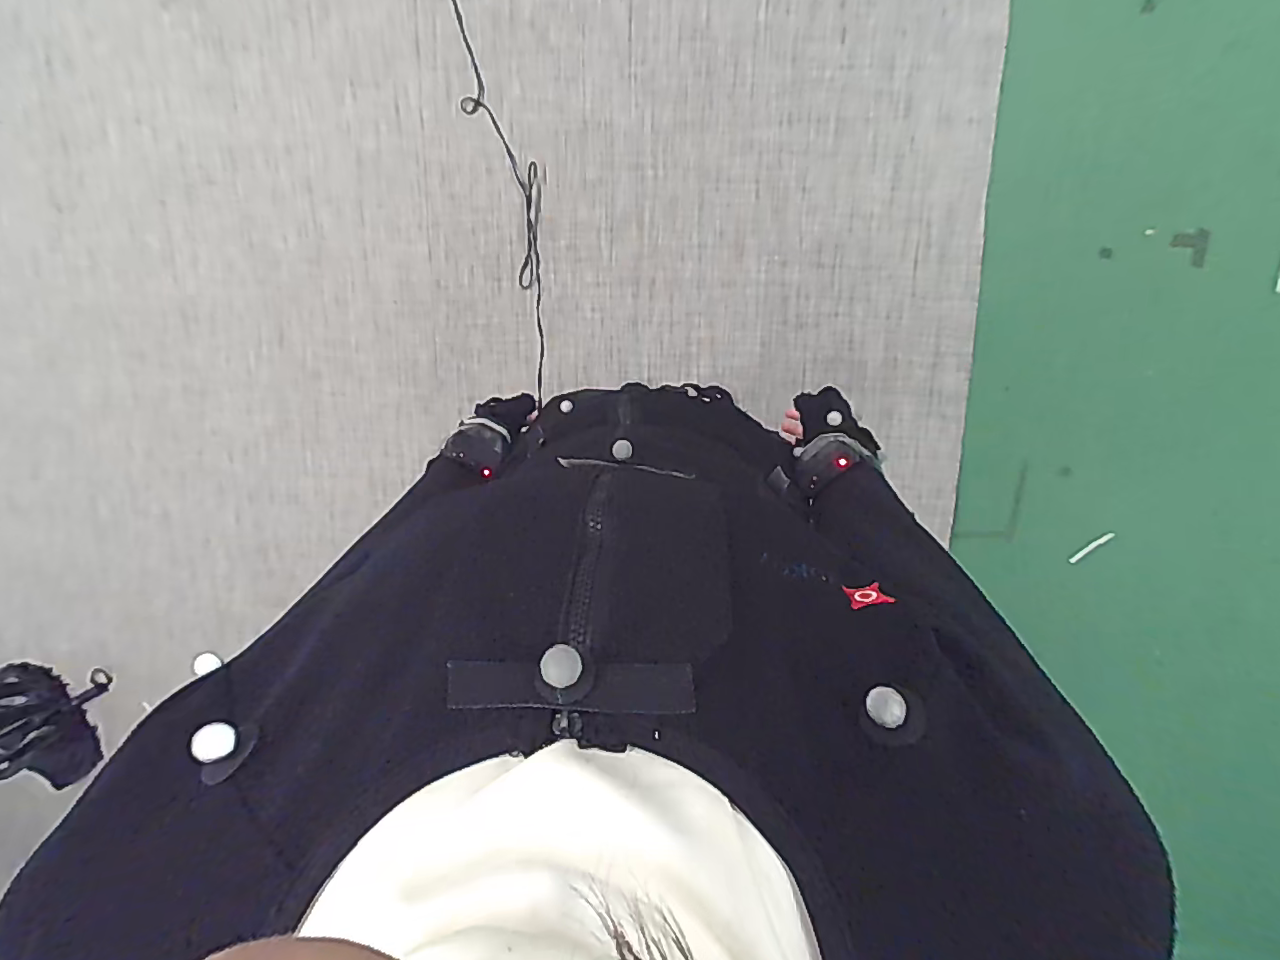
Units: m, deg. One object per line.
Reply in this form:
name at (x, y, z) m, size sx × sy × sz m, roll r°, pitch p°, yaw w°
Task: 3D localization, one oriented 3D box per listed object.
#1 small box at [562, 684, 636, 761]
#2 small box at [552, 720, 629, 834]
small box at (-0.109, 0.681, 1.481) m, size 0.179 × 0.176 × 0.168 m, roll 4°, pitch 100°, yaw 4°
small box at (-0.115, 0.720, 1.323) m, size 0.168 × 0.176 × 0.179 m, roll 3°, pitch 99°, yaw 2°
